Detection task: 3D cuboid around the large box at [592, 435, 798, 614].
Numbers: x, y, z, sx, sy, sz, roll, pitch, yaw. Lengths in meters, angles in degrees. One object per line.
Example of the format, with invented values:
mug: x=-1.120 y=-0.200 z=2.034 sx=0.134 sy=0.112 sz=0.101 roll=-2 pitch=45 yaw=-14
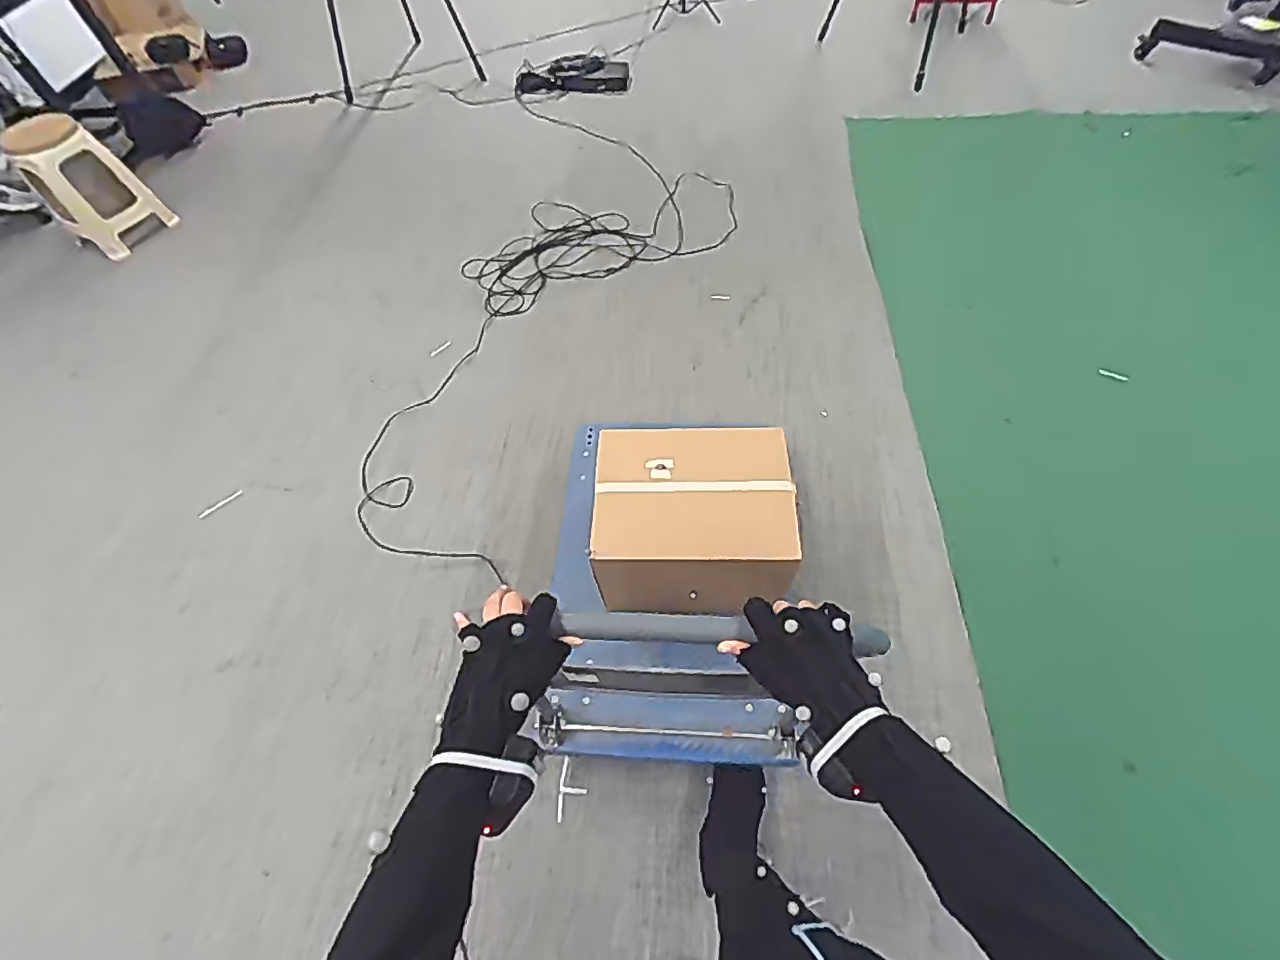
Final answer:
large box: x=0.121 y=0.115 z=1.244 sx=0.408 sy=0.320 sz=0.320 roll=-1 pitch=57 yaw=5
